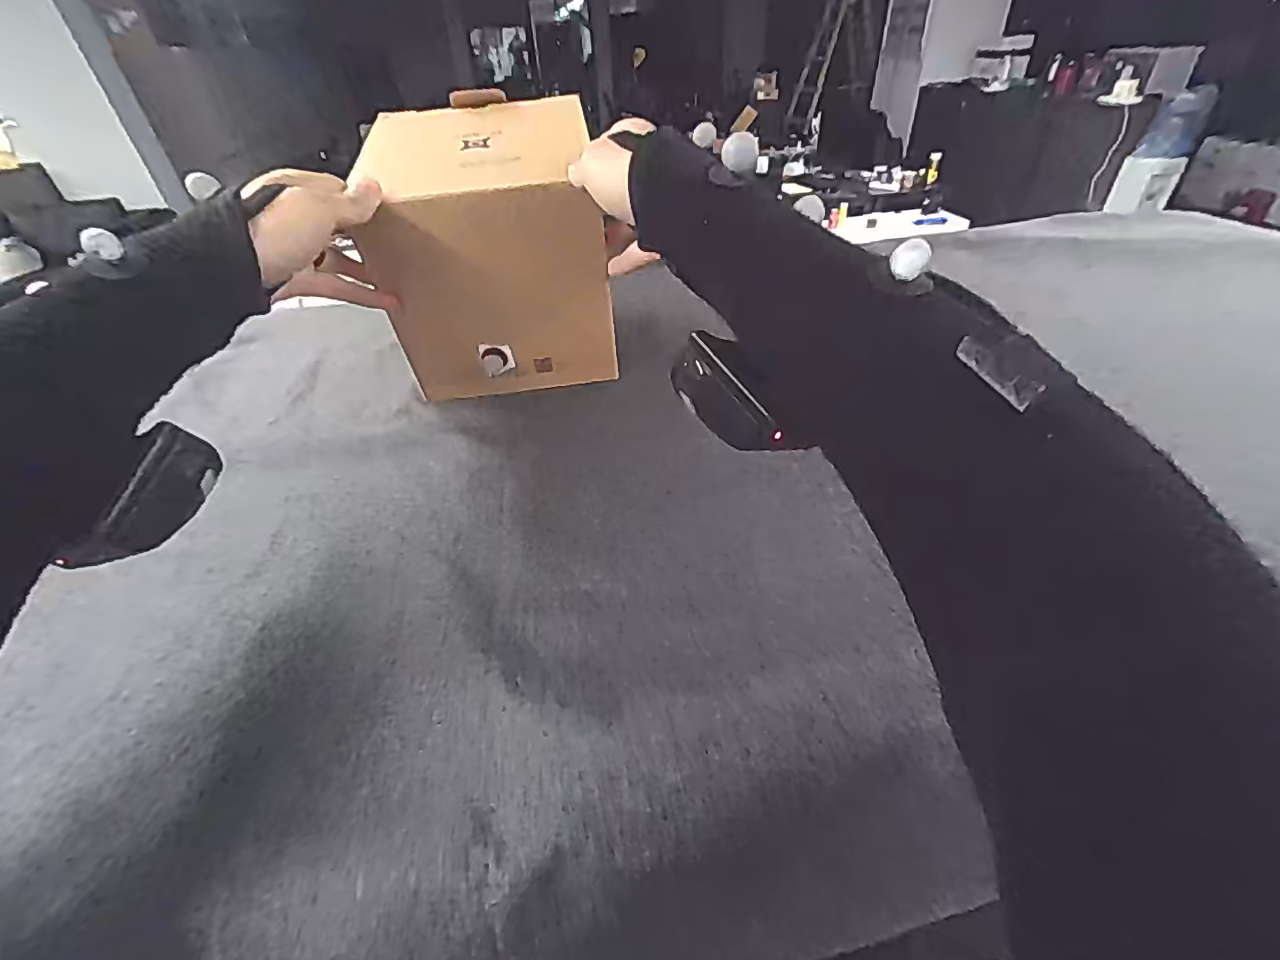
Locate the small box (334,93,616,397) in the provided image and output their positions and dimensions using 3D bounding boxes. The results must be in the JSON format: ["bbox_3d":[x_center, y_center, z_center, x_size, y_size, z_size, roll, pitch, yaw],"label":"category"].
[{"bbox_3d":[-0.114,-0.192,0.447,0.168,0.176,0.179,-8,49,-3],"label":"small box"}]
